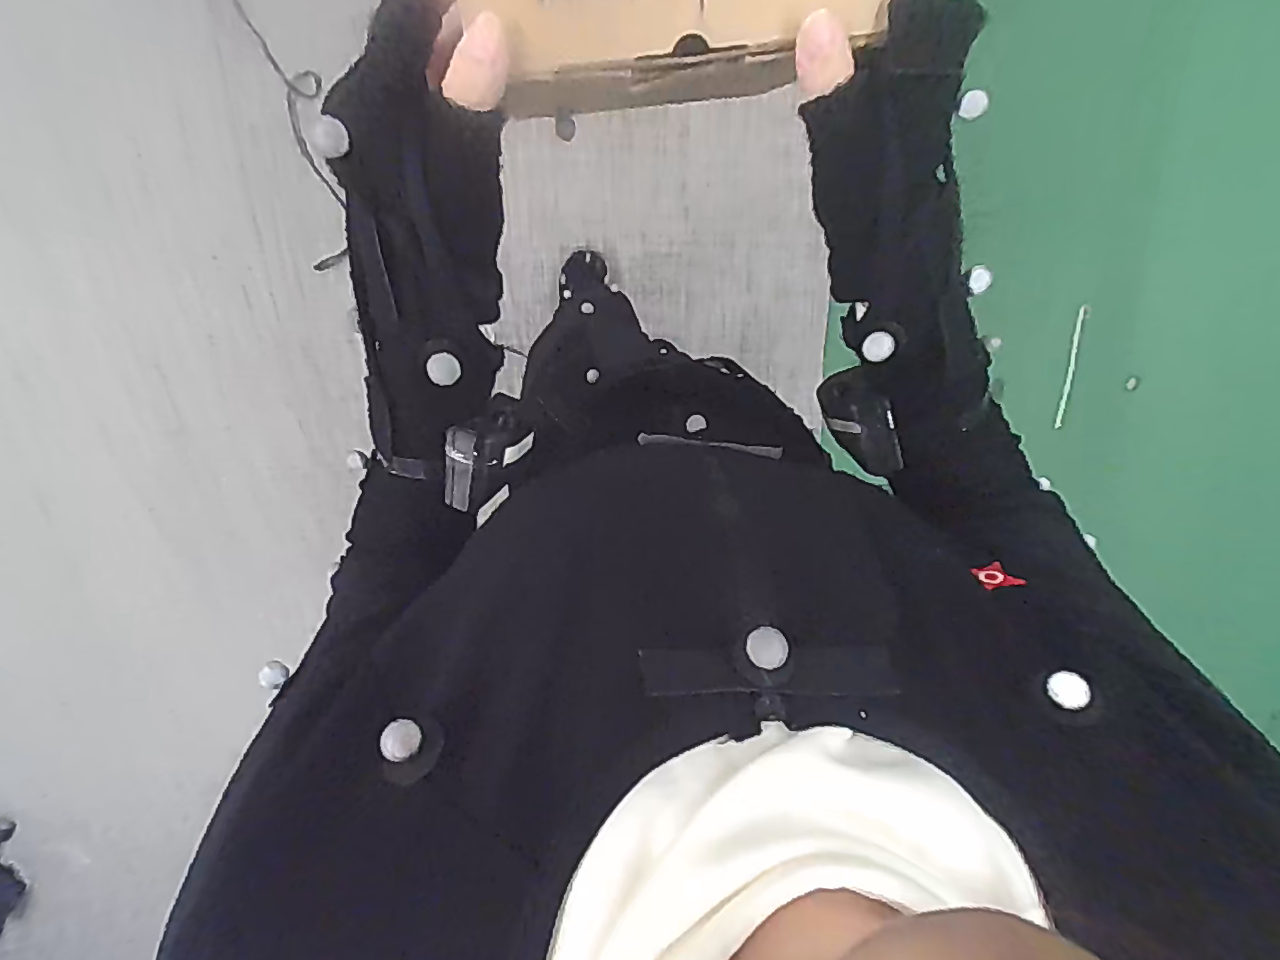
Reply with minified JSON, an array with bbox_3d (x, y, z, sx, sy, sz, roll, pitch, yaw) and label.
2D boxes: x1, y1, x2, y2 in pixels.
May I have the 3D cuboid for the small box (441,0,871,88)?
[{"bbox_3d":[-0.005,-0.283,0.228,0.168,0.176,0.179,-8,120,-3],"label":"small box"}]
